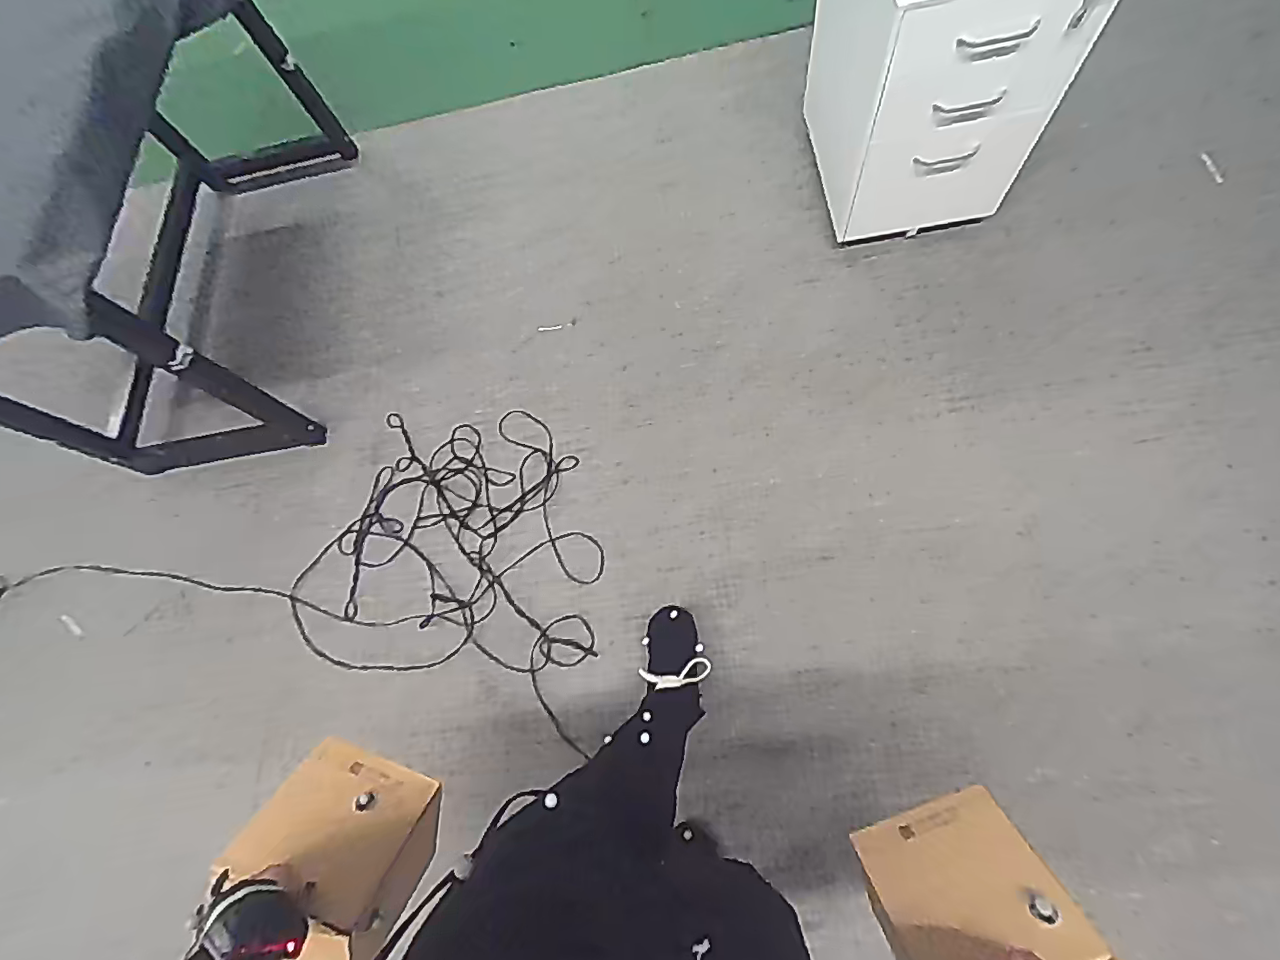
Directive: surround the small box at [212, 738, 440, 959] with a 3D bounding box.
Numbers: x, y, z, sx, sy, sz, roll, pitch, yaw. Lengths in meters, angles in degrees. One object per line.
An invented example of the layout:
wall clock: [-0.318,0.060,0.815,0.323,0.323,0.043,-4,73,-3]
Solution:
small box: [-0.363,0.458,0.654,0.168,0.176,0.179,19,118,7]
